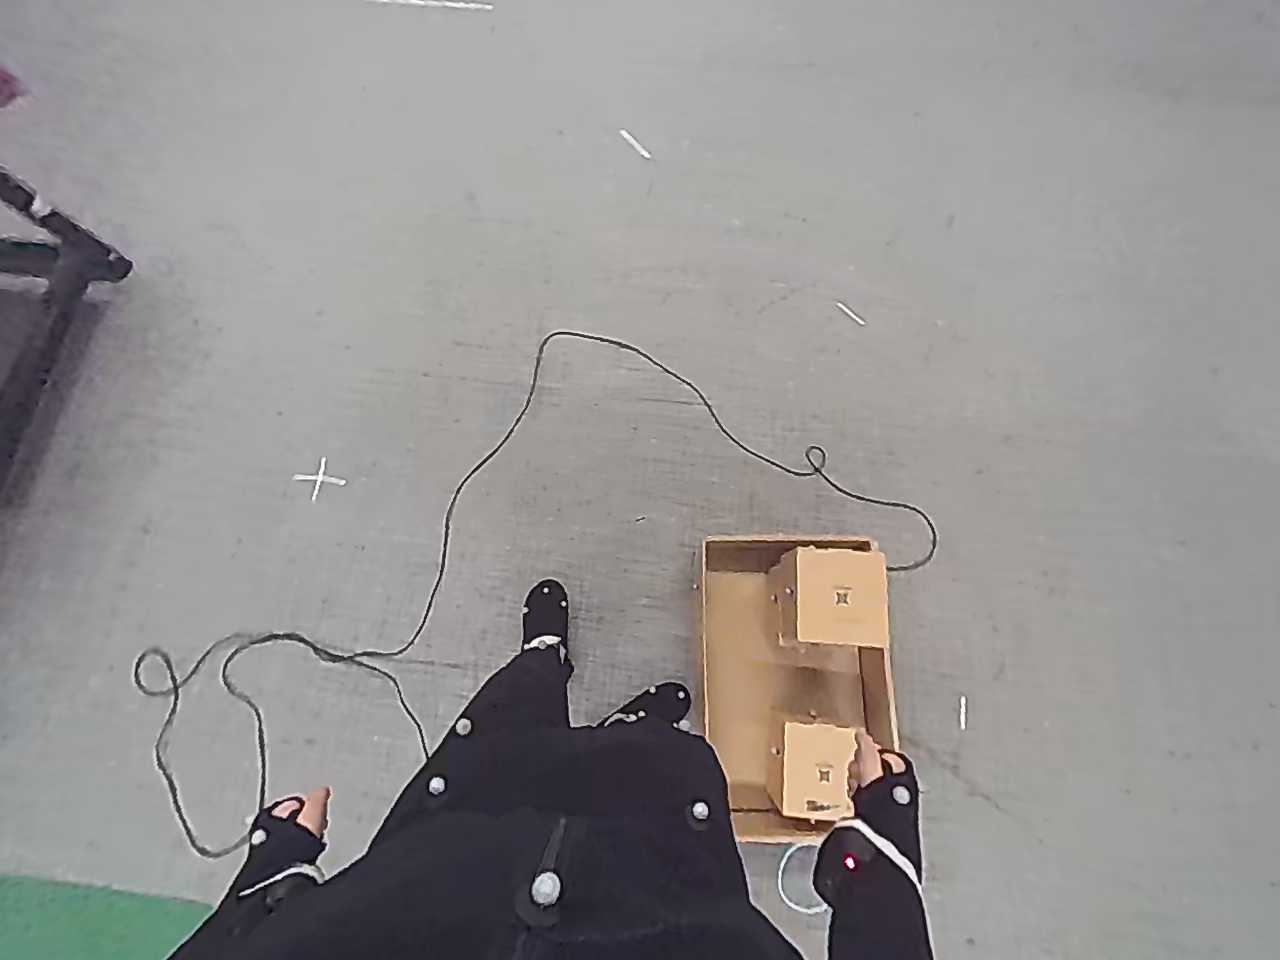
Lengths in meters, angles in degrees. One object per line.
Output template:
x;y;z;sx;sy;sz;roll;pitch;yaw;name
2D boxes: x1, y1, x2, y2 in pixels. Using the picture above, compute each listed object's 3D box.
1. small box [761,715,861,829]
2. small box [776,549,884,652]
0.356;0.607;1.147;0.168;0.176;0.179;6;74;3;small box
0.370;0.242;1.078;0.168;0.176;0.179;4;76;4;small box
